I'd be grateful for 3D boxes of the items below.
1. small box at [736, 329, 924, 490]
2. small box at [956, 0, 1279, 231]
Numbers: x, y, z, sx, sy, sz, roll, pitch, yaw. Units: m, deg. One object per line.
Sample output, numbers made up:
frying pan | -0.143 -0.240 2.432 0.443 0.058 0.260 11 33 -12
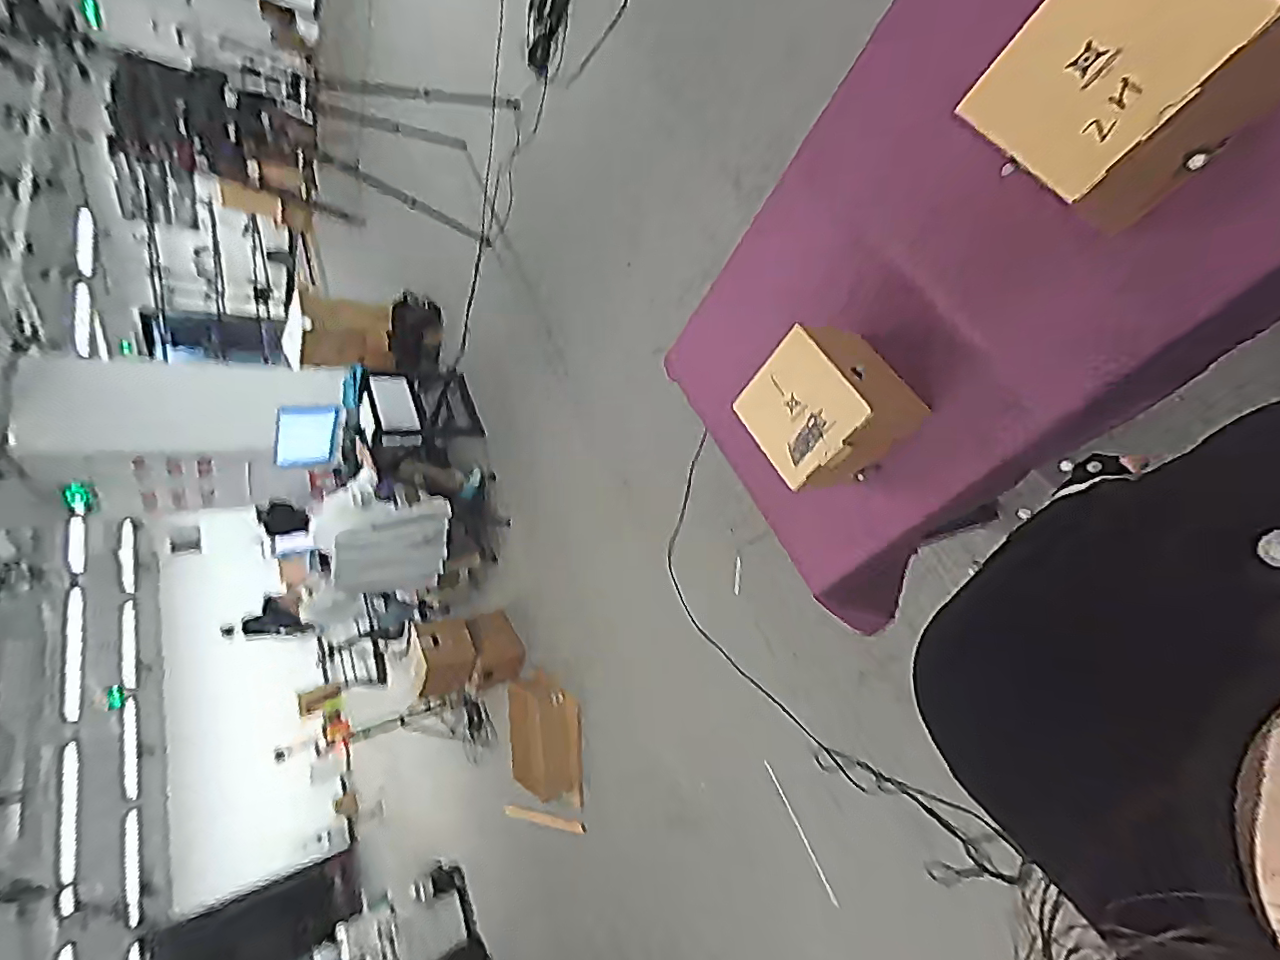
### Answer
small box | 0.288 -0.106 0.826 0.168 0.176 0.179 -54 52 39
small box | 0.478 -0.384 0.551 0.168 0.176 0.179 -52 55 42
